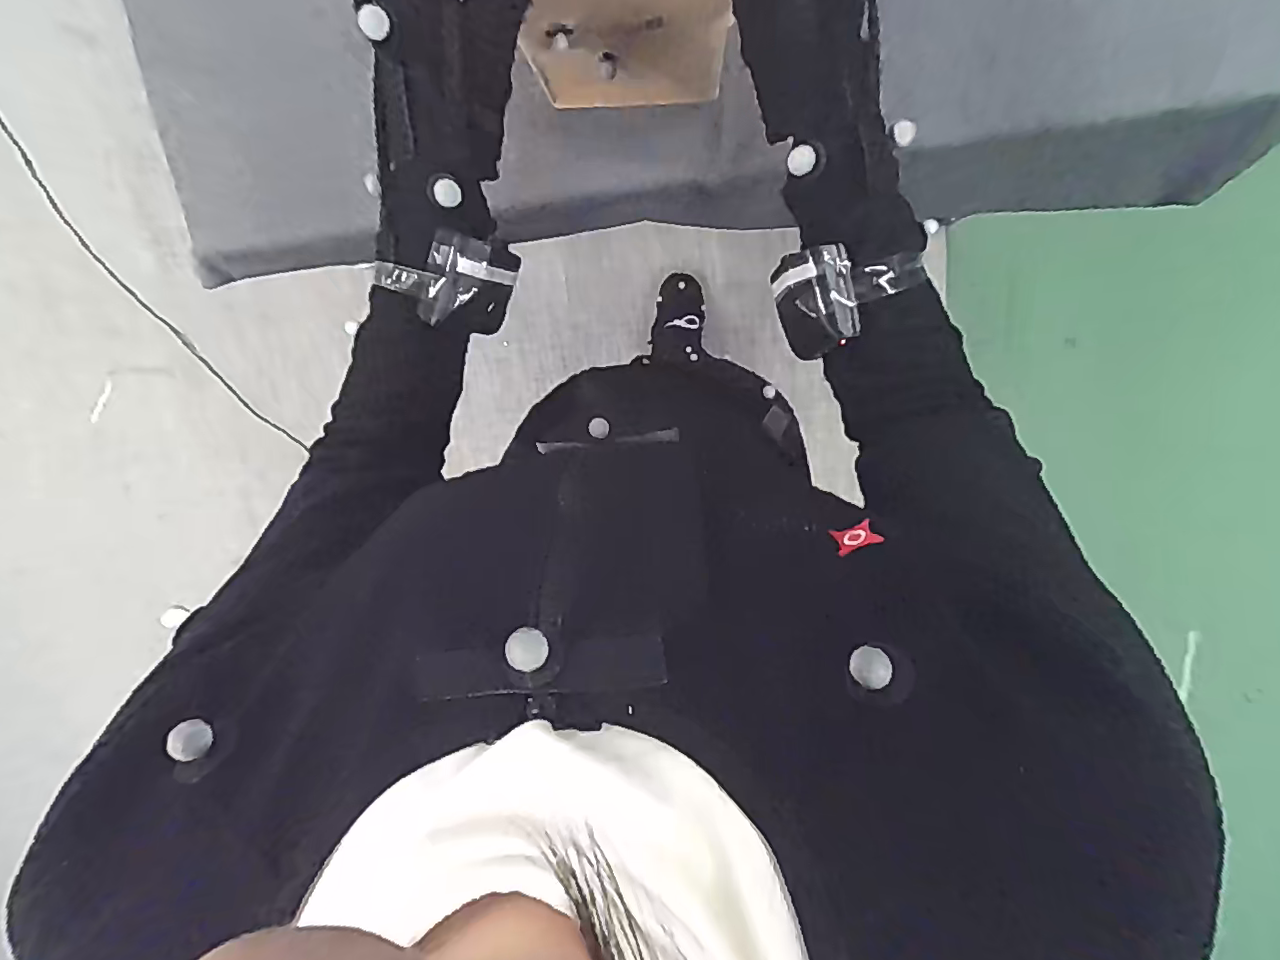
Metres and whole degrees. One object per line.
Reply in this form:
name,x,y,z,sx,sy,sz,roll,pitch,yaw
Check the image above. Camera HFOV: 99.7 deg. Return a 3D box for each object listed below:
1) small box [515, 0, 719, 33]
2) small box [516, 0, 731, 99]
small box,-0.025,-0.414,0.325,0.168,0.176,0.179,-7,105,8
small box,-0.009,-0.471,0.482,0.179,0.176,0.168,-2,103,5
